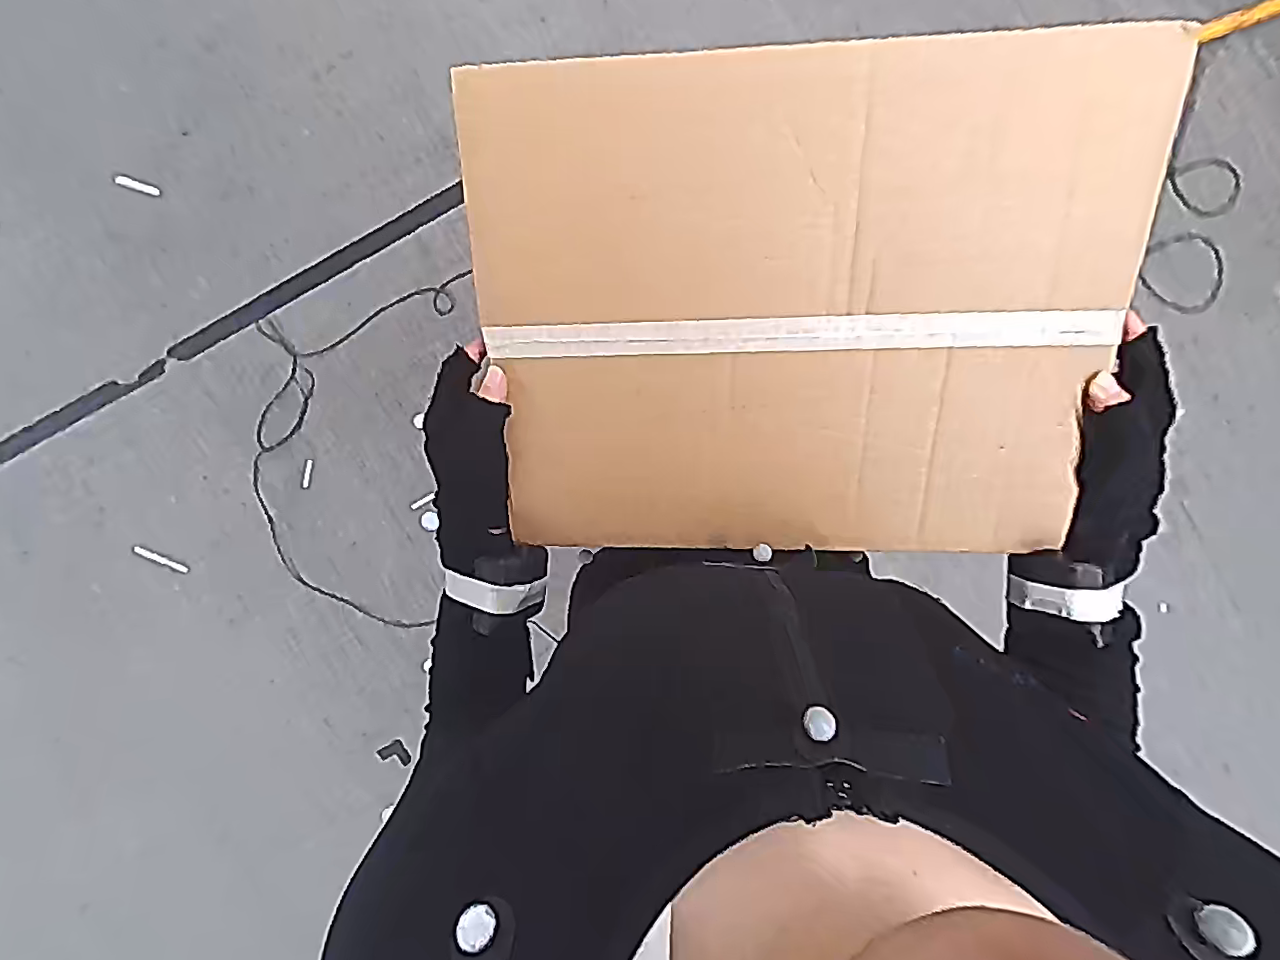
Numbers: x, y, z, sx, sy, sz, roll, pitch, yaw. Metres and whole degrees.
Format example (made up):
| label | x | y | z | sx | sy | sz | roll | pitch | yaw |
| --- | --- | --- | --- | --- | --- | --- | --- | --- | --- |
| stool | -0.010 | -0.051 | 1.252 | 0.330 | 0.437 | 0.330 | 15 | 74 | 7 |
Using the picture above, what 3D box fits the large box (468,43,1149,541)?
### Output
| label | x | y | z | sx | sy | sz | roll | pitch | yaw |
| --- | --- | --- | --- | --- | --- | --- | --- | --- | --- |
| large box | 0.105 | -0.150 | 0.509 | 0.408 | 0.320 | 0.320 | 0 | 112 | 4 |
